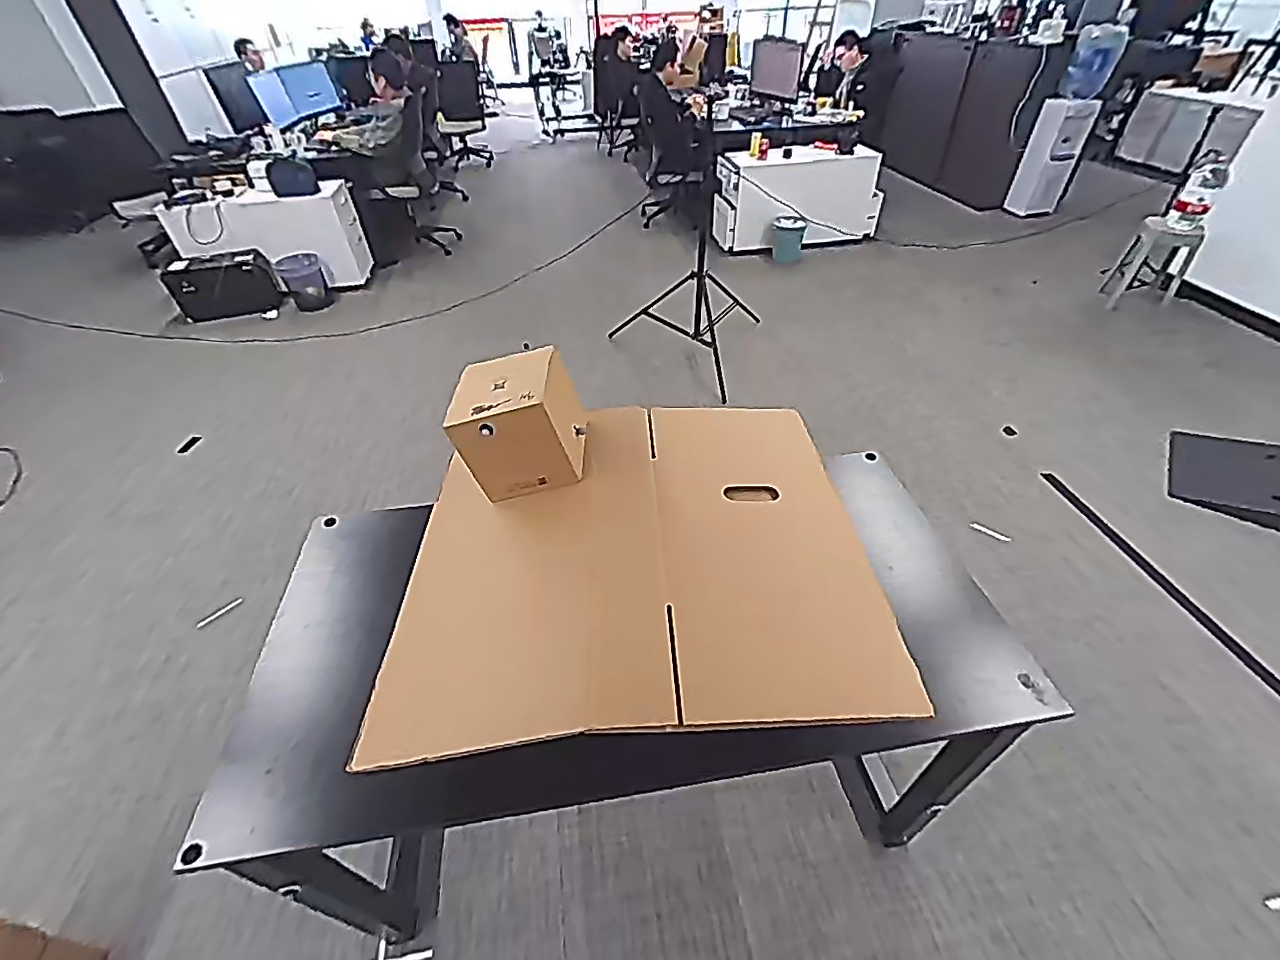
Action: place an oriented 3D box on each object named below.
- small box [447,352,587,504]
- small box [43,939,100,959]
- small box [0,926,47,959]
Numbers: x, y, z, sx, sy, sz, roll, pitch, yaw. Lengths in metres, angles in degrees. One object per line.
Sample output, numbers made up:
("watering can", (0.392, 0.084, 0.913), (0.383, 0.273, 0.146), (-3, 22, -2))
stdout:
("small box", (-0.195, -0.087, 0.920), (0.168, 0.176, 0.179), (-13, 40, 10))
("small box", (-1.212, 1.035, 1.047), (0.168, 0.176, 0.179), (-10, 43, -8))
("small box", (-1.220, 0.911, 0.943), (0.168, 0.176, 0.179), (-11, 41, -11))
